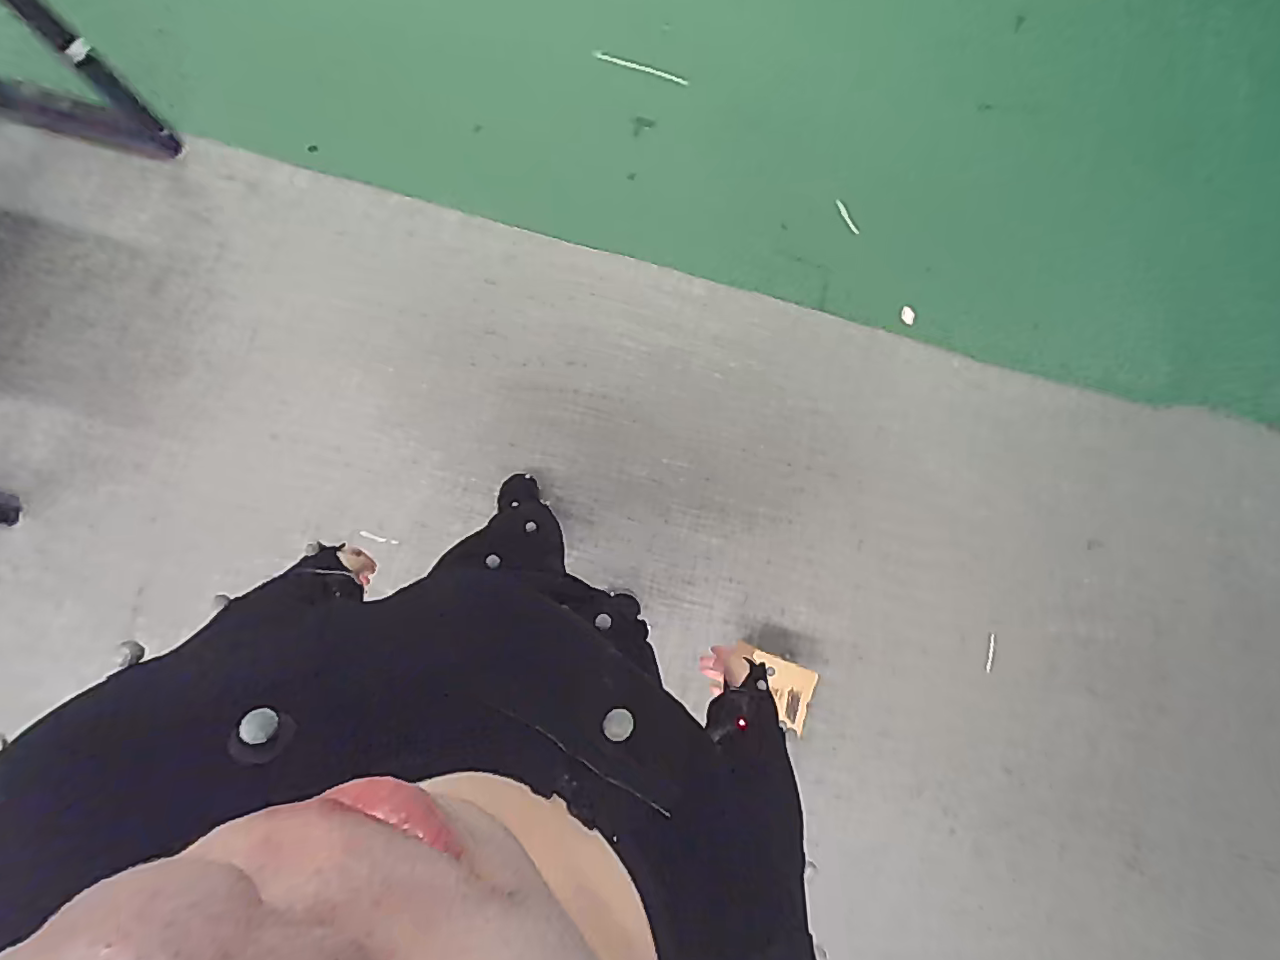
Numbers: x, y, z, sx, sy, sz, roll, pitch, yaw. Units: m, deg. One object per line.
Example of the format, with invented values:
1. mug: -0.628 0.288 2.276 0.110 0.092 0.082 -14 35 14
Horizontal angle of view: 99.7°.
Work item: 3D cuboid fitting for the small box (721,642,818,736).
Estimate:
1. small box: 0.334 0.540 1.424 0.179 0.176 0.168 21 81 -1
